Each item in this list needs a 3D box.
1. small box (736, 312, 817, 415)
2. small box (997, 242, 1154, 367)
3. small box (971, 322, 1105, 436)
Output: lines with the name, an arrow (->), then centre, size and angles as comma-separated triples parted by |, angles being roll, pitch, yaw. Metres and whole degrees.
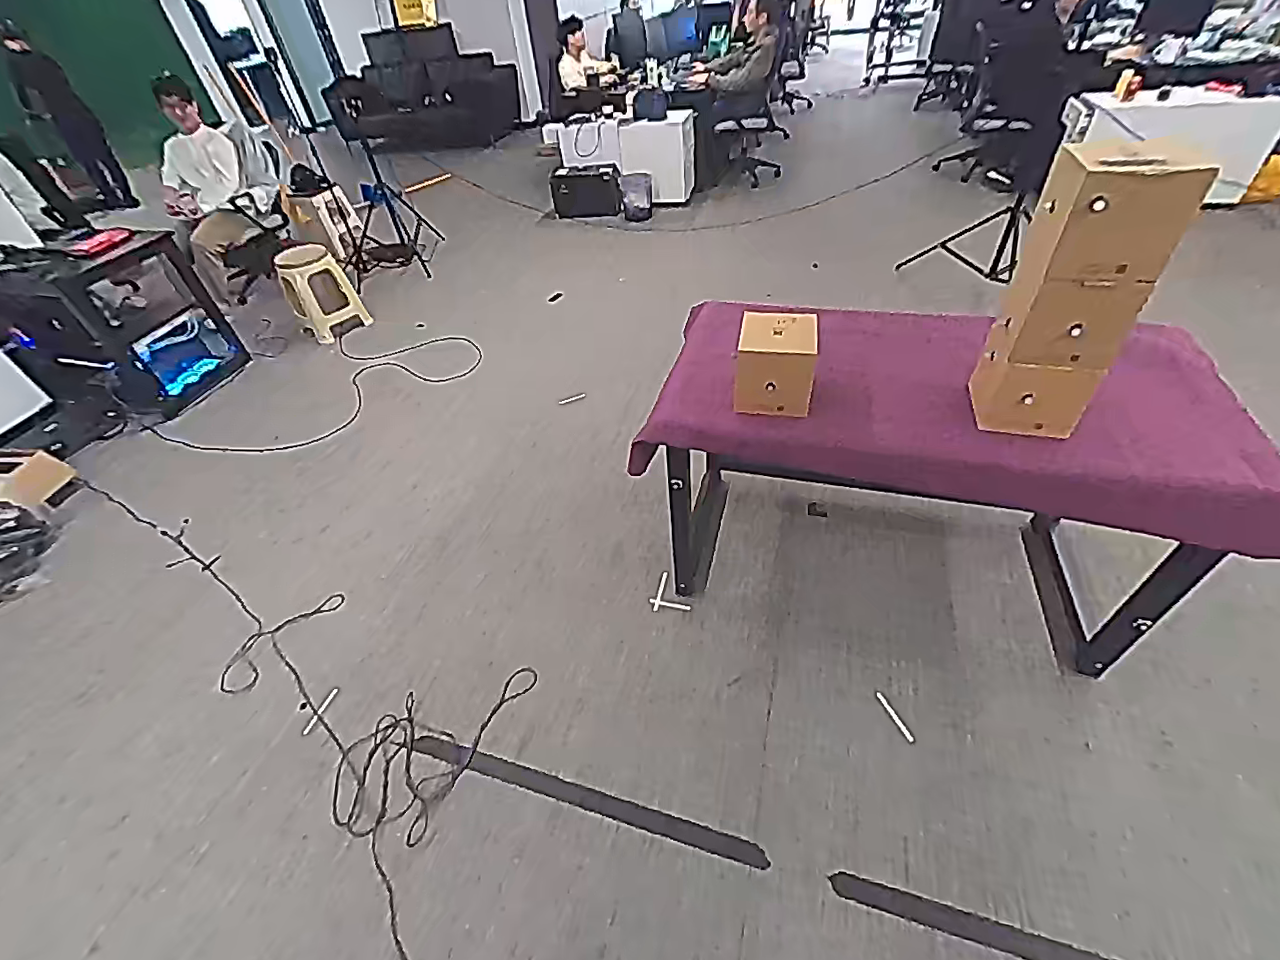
small box -> 0.313, -0.268, 1.246 | 0.168, 0.176, 0.179 | 6, 44, 12
small box -> 0.803, -0.331, 1.019 | 0.168, 0.176, 0.179 | 9, 46, 16
small box -> 0.815, -0.210, 1.129 | 0.168, 0.176, 0.179 | 8, 45, 16
